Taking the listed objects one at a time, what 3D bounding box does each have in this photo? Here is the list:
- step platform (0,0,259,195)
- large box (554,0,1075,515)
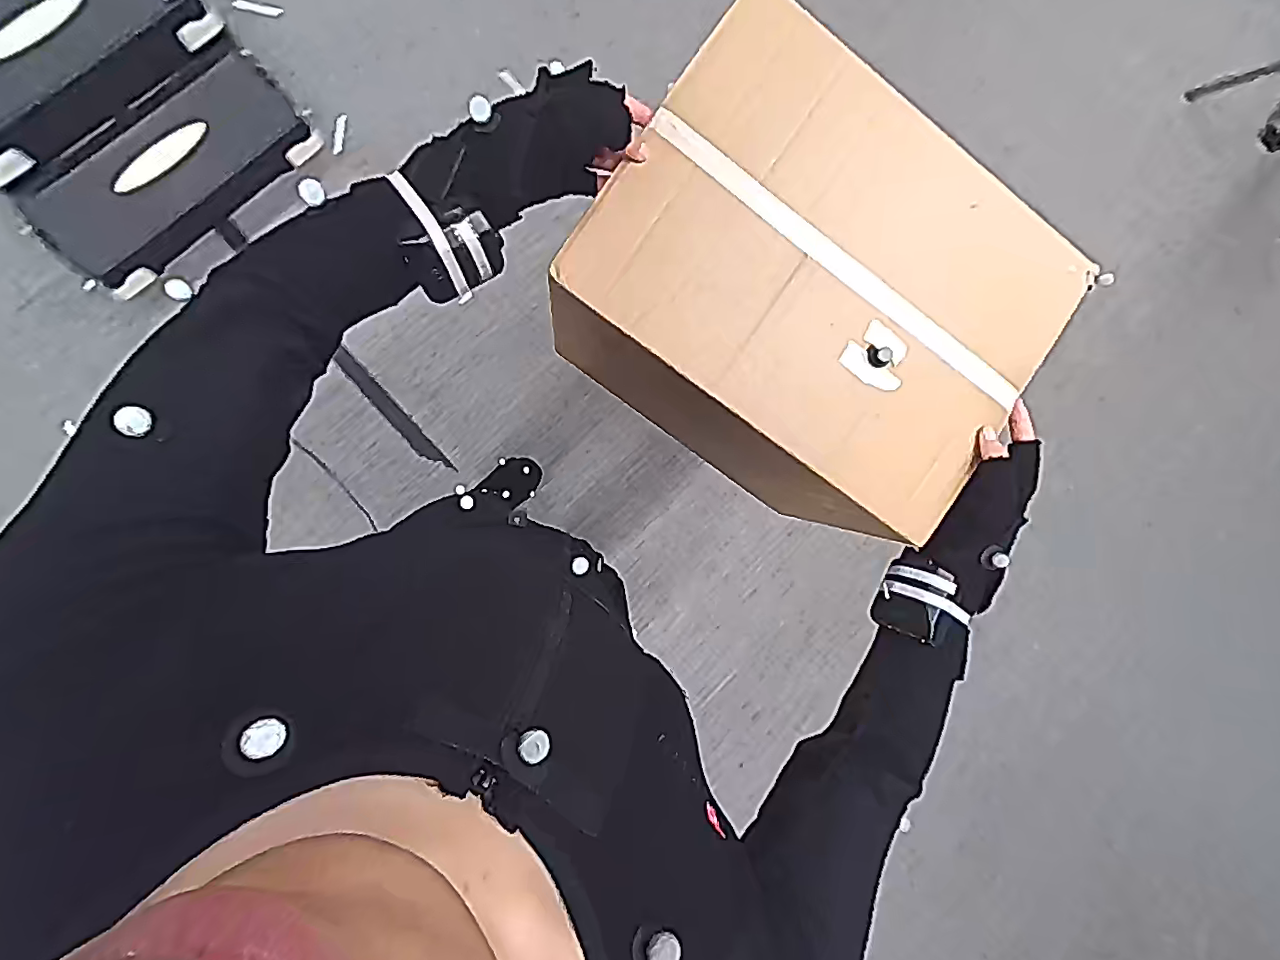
[{"bbox_3d":[-1.322,-1.035,1.310,0.286,0.204,0.684,45,82,-3],"label":"step platform"},{"bbox_3d":[0.148,-0.202,0.625,0.408,0.320,0.320,33,88,-8],"label":"large box"}]
